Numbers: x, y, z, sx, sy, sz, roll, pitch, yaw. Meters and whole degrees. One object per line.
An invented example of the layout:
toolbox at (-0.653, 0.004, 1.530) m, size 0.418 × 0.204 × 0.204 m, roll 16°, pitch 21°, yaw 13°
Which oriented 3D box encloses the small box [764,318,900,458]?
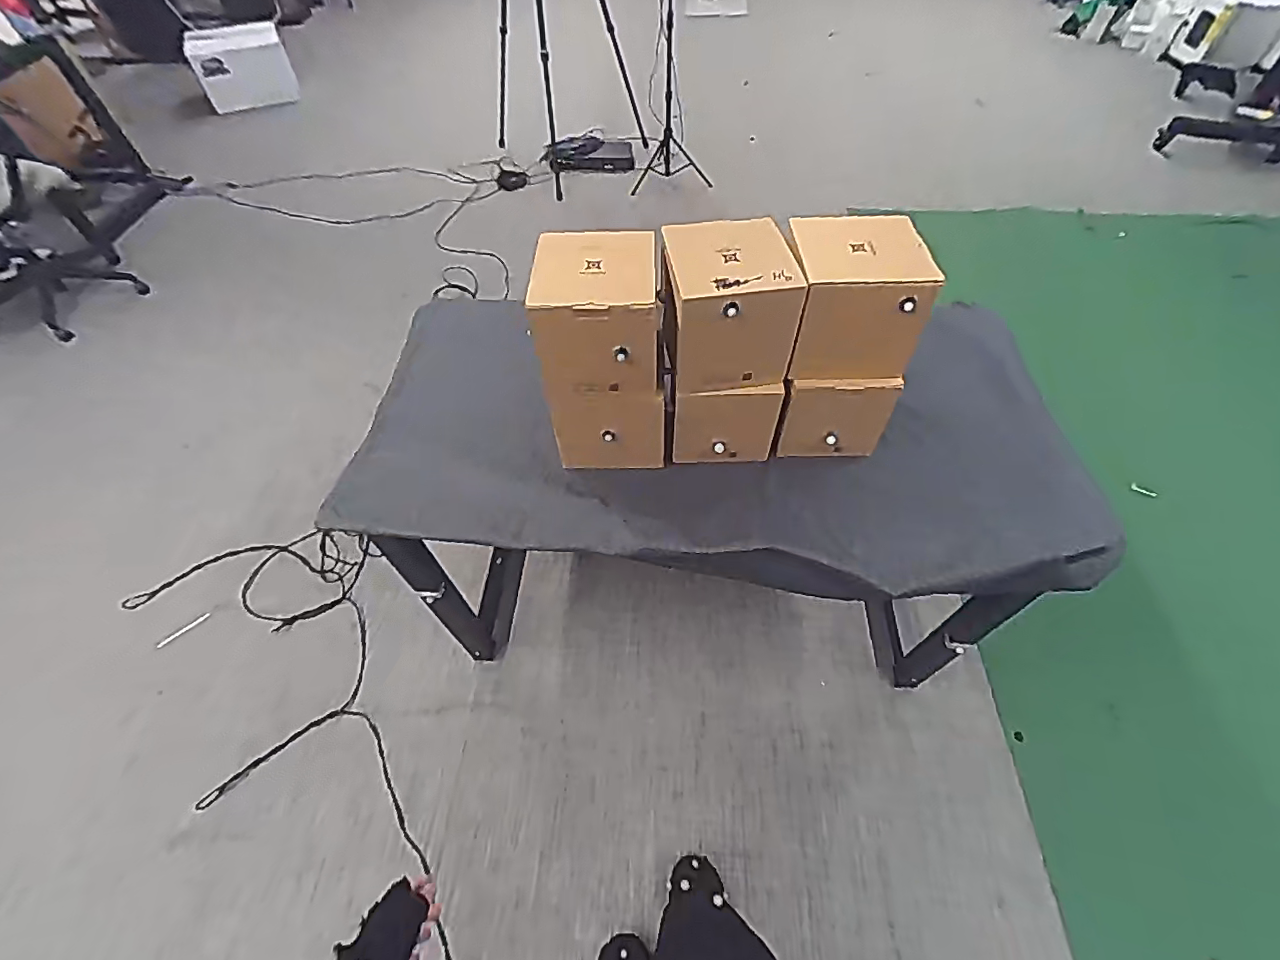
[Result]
small box at (0.313, -0.157, 0.926) m, size 0.168 × 0.176 × 0.179 m, roll 0°, pitch 54°, yaw 2°
